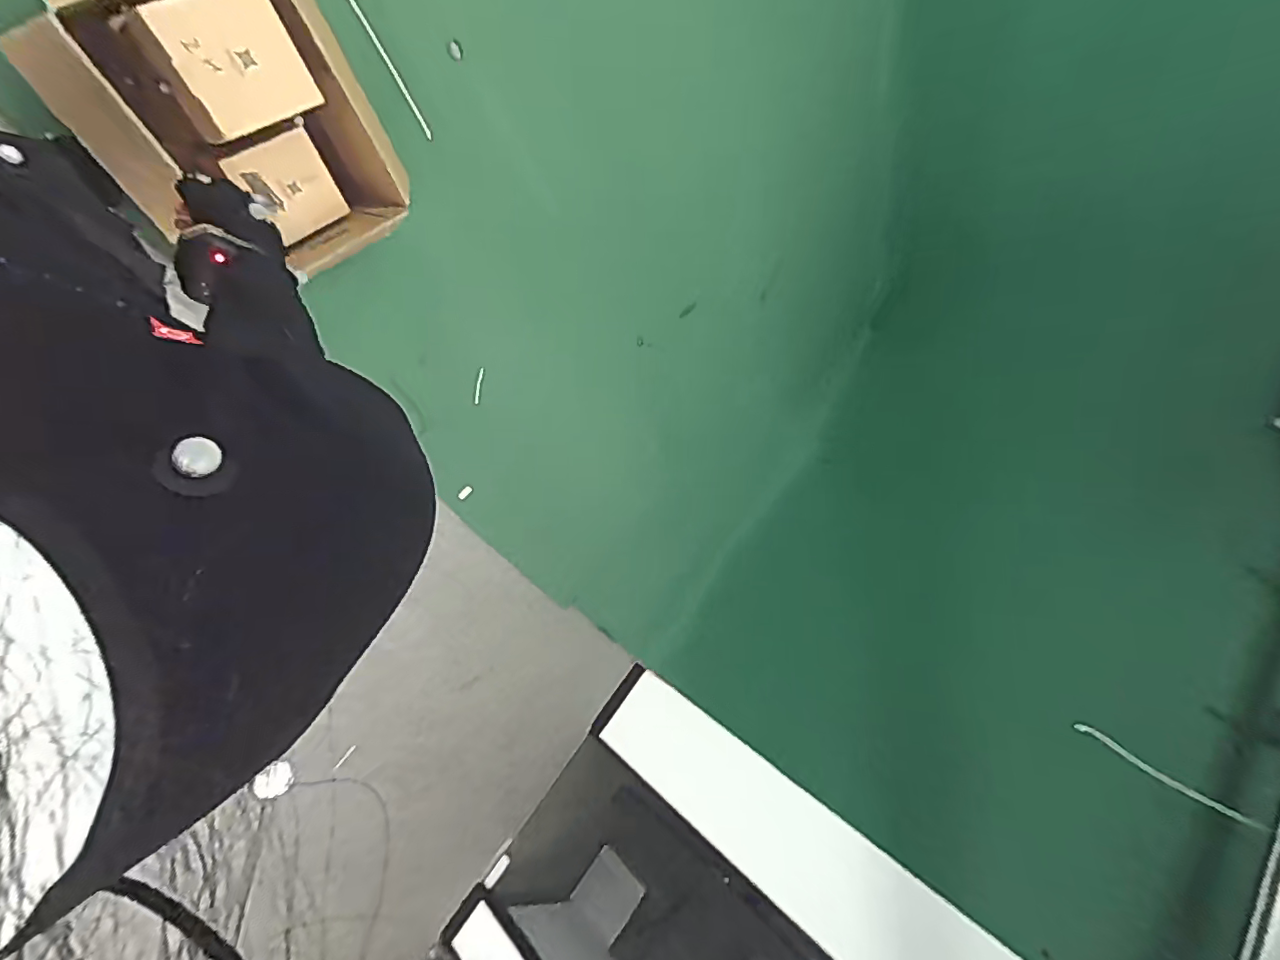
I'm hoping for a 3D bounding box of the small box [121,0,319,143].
[{"bbox_3d":[-0.673,-0.663,0.869,0.179,0.176,0.168,-44,139,-24],"label":"small box"}]
